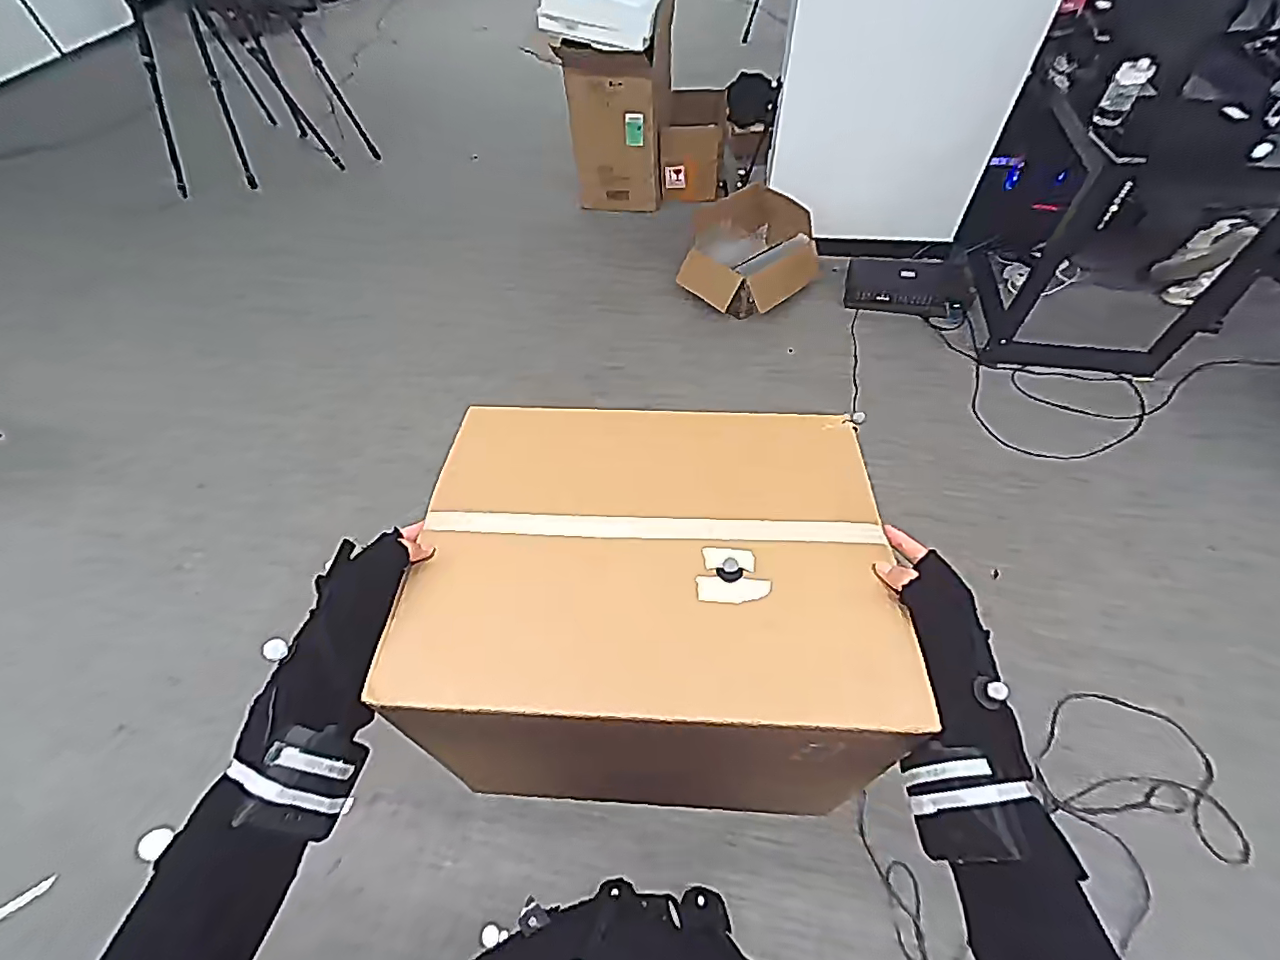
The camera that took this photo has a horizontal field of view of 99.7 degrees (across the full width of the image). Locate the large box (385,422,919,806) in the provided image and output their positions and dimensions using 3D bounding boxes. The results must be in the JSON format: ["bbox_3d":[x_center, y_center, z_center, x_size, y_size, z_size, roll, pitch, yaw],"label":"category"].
[{"bbox_3d":[0.012,0.152,0.604,0.408,0.320,0.320,2,50,3],"label":"large box"}]
